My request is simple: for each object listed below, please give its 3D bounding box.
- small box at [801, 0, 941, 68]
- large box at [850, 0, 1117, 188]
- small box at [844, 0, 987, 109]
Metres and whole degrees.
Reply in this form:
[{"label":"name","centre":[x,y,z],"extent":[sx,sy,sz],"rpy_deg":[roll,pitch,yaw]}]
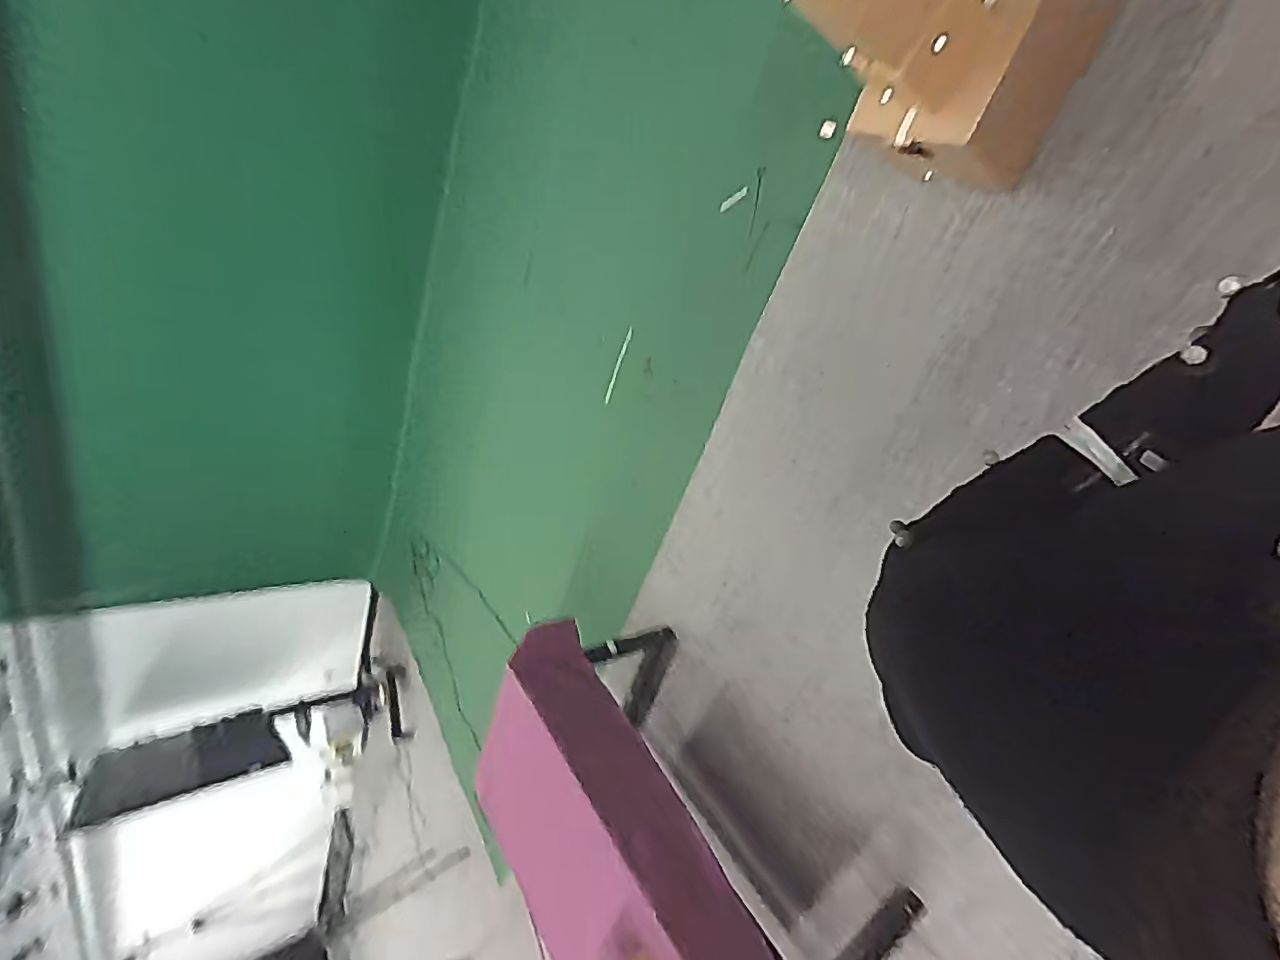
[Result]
[{"label":"small box","centre":[0.438,-0.909,0.987],"extent":[0.168,0.176,0.179],"rpy_deg":[58,131,32]},{"label":"large box","centre":[0.765,-0.945,1.228],"extent":[0.320,0.320,0.408],"rpy_deg":[43,121,39]},{"label":"small box","centre":[0.561,-0.901,1.094],"extent":[0.168,0.176,0.179],"rpy_deg":[54,129,34]}]
